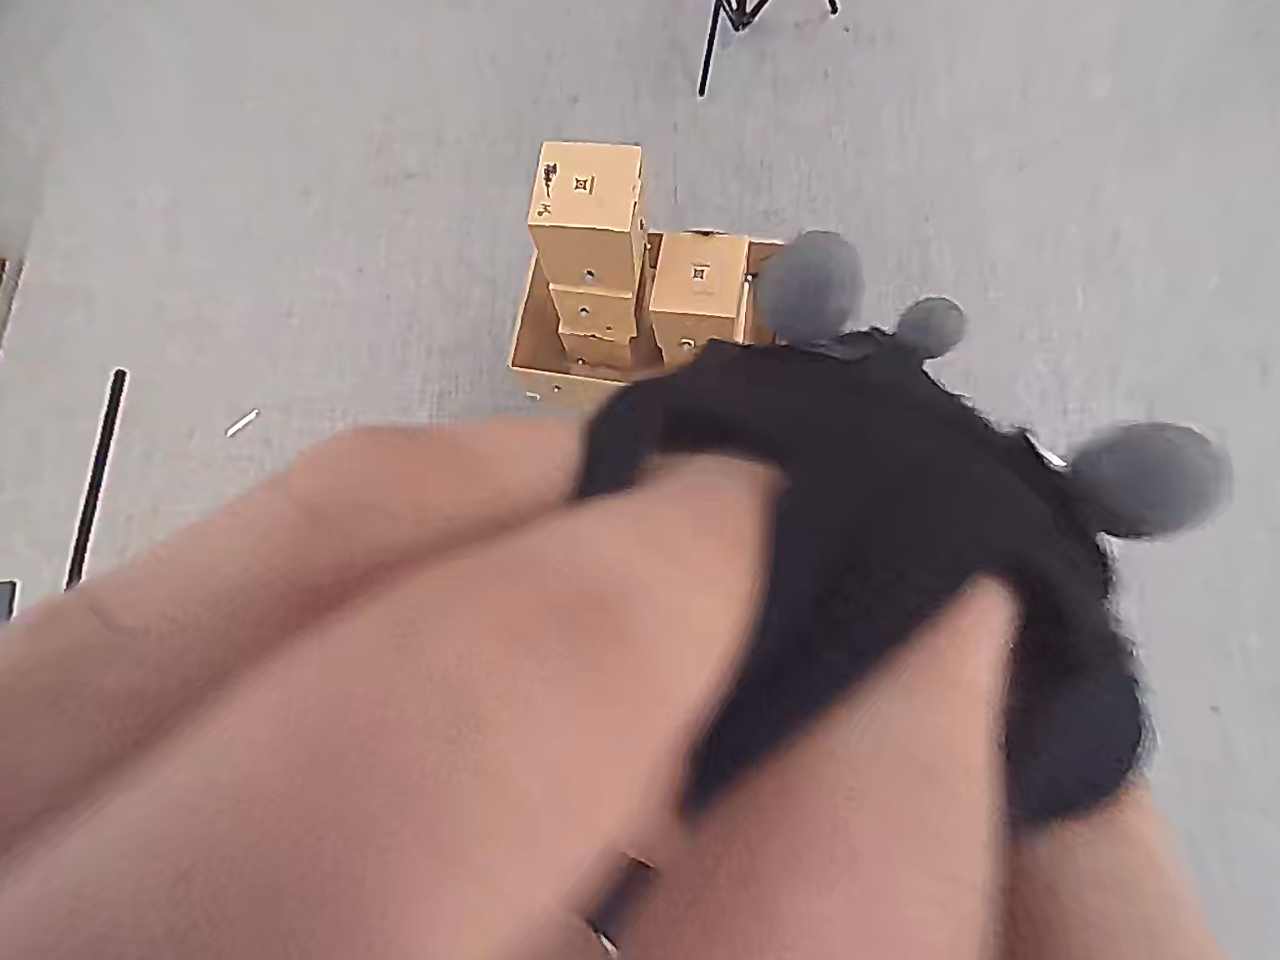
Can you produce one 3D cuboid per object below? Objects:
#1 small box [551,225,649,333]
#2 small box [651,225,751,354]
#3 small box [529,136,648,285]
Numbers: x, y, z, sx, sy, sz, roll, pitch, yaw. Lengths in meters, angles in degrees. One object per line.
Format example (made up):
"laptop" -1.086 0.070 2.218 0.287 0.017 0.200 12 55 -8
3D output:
"small box" -0.074 -0.428 1.126 0.168 0.176 0.179 9 78 5
"small box" 0.125 -0.380 1.093 0.168 0.176 0.179 9 79 10
"small box" -0.082 -0.472 0.968 0.179 0.176 0.168 8 78 4
